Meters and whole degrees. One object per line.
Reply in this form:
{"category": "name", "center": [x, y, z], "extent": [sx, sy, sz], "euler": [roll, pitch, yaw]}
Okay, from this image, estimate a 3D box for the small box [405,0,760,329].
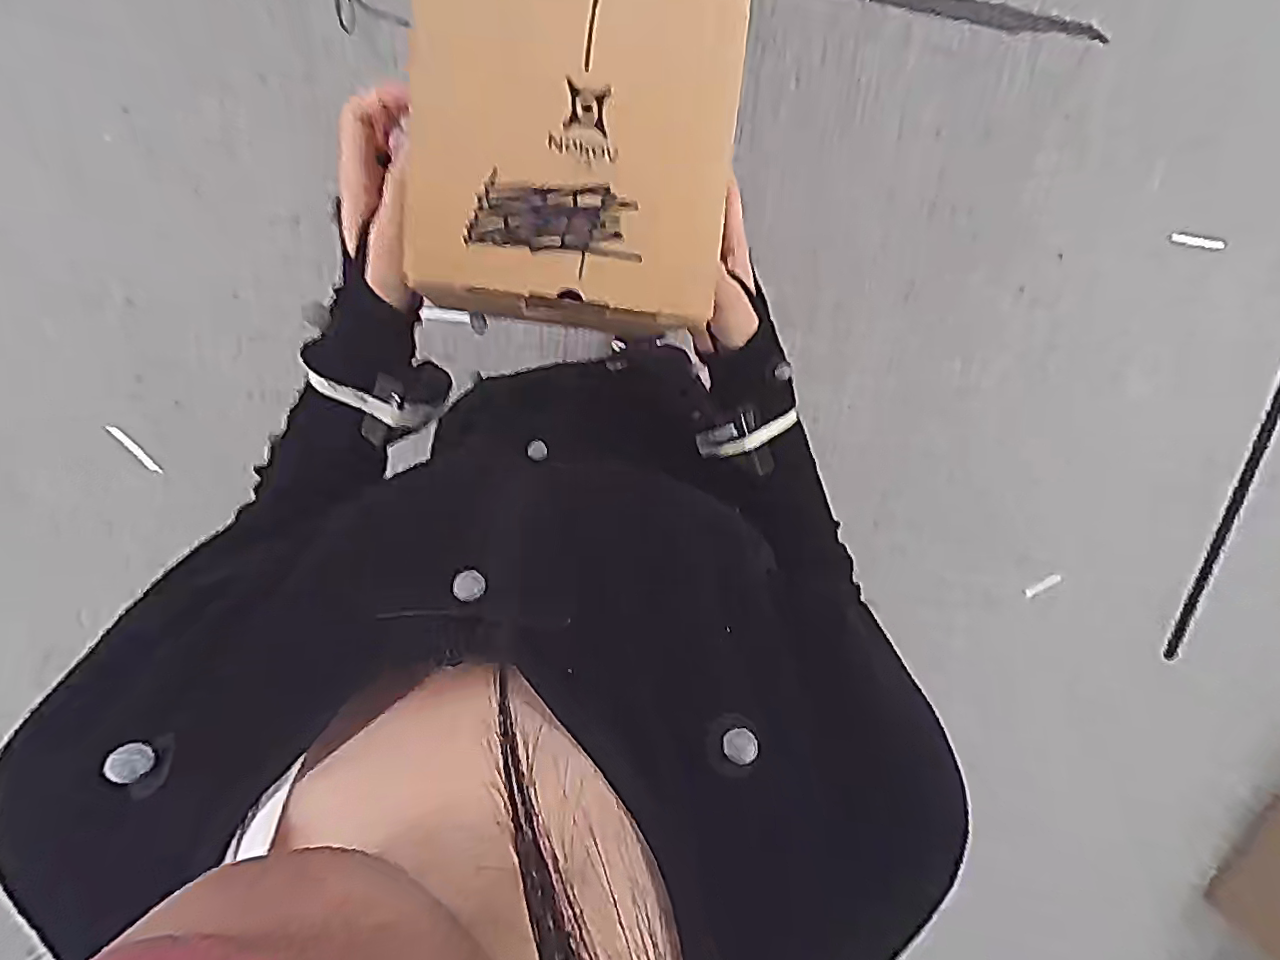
{"category": "small box", "center": [-0.046, -0.198, 0.346], "extent": [0.168, 0.176, 0.179], "euler": [4, 101, -16]}
